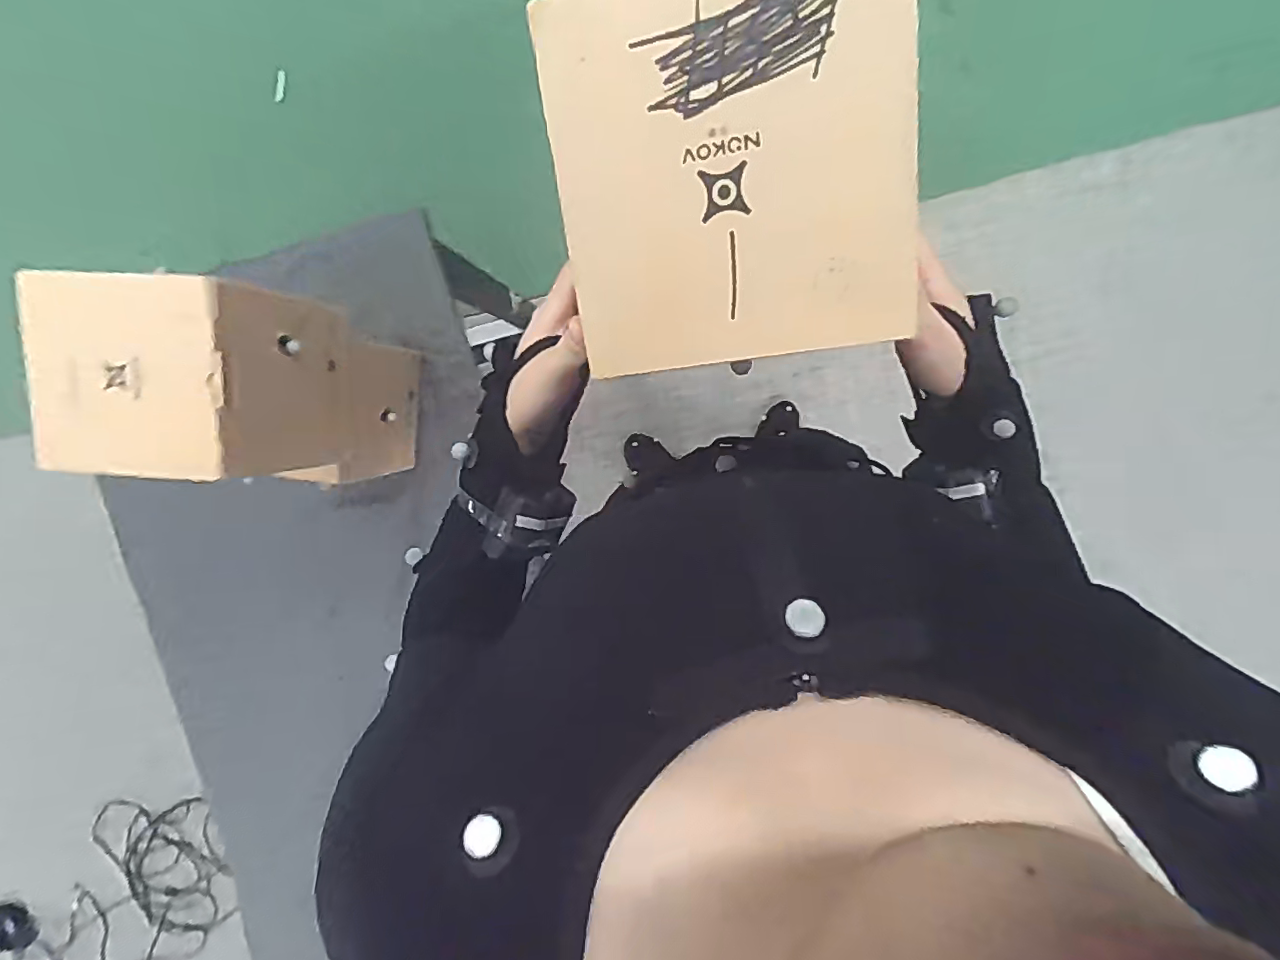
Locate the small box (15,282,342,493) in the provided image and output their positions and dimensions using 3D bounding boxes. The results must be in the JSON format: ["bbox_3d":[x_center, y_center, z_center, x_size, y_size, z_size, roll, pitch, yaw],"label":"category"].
[{"bbox_3d":[-0.411,-0.085,0.517,0.179,0.176,0.168,3,97,7],"label":"small box"}]

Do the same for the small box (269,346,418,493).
[{"bbox_3d":[-0.402,-0.087,0.680,0.179,0.176,0.168,8,98,6],"label":"small box"}]
